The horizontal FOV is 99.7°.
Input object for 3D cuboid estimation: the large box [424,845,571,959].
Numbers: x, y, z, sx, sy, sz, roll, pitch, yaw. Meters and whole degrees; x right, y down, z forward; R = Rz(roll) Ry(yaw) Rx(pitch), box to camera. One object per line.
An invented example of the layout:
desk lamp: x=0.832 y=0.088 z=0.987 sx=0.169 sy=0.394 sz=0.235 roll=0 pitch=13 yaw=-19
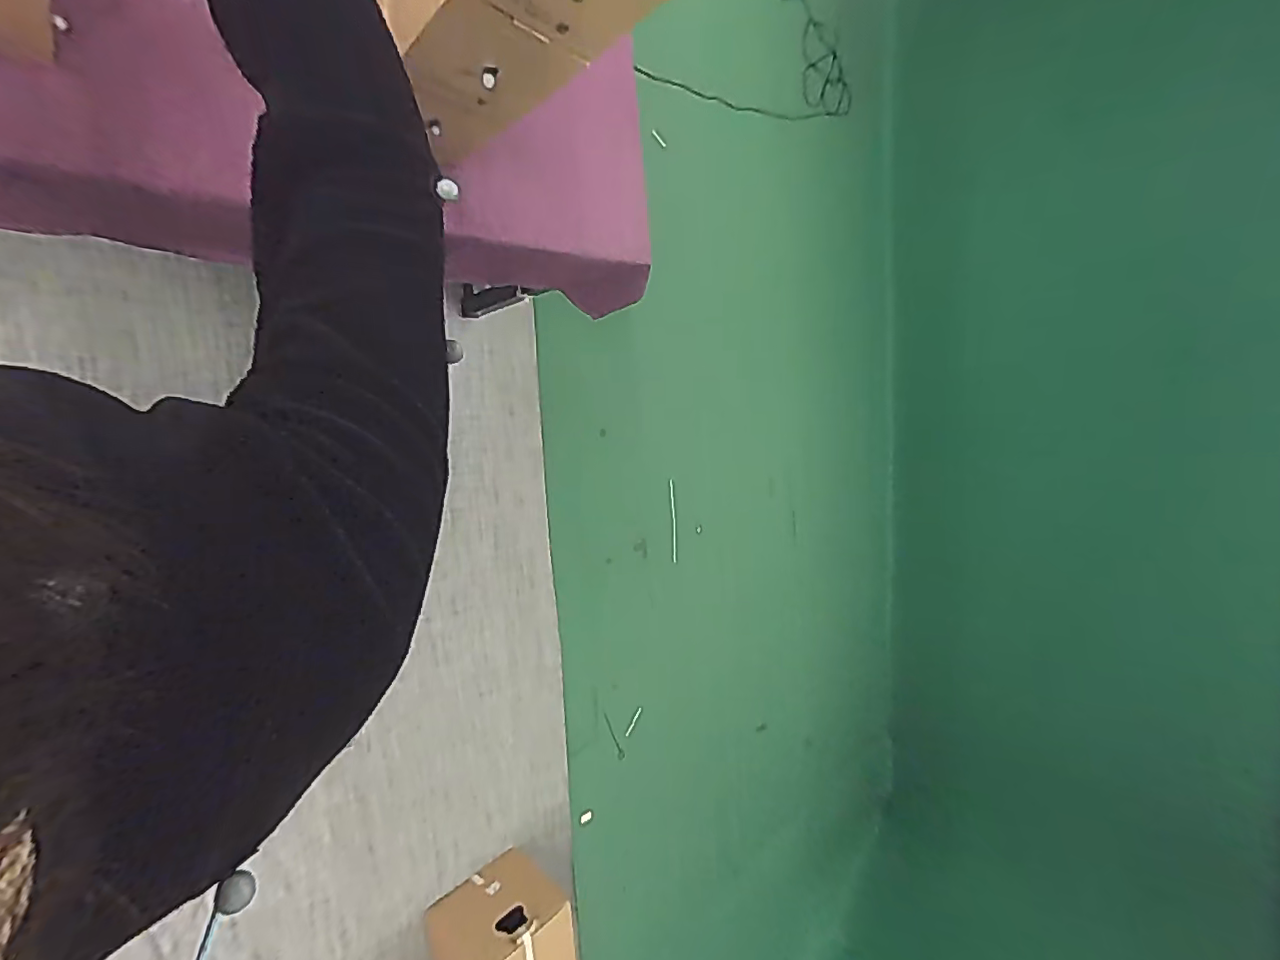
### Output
large box: x=-0.426 y=1.450 z=1.646 sx=0.320 sy=0.320 sz=0.408 roll=-11 pitch=101 yaw=-45

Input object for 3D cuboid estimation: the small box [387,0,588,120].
small box: x=-0.175 y=-0.557 z=0.617 sx=0.168 sy=0.176 sz=0.179 roll=-5 pitch=96 yaw=-45

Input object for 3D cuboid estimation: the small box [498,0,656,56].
small box: x=-0.059 y=-0.550 z=0.499 sx=0.168 sy=0.176 sz=0.179 roll=-7 pitch=96 yaw=-45
